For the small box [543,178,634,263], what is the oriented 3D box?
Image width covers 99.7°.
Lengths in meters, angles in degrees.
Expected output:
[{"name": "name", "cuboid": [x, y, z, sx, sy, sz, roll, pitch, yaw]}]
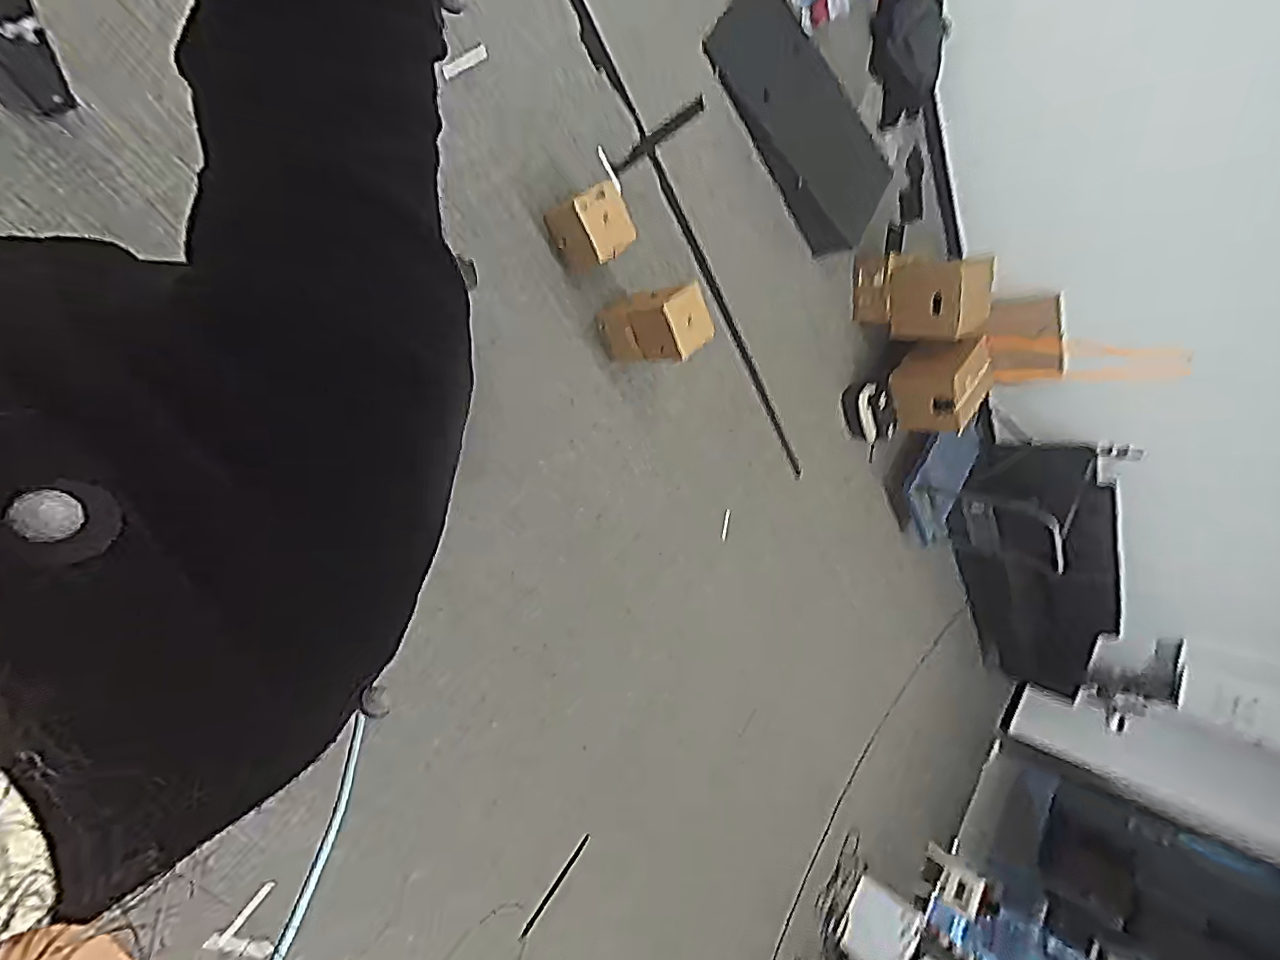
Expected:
[{"name": "small box", "cuboid": [-0.156, -0.766, 1.615, 0.168, 0.176, 0.179, -45, 125, -25]}]

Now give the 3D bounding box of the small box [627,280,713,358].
[{"name": "small box", "cuboid": [0.092, -0.494, 1.666, 0.168, 0.176, 0.179, -43, 123, -27]}]

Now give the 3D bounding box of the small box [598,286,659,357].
[{"name": "small box", "cuboid": [-0.017, -0.517, 1.785, 0.179, 0.176, 0.168, -45, 124, -26]}]
